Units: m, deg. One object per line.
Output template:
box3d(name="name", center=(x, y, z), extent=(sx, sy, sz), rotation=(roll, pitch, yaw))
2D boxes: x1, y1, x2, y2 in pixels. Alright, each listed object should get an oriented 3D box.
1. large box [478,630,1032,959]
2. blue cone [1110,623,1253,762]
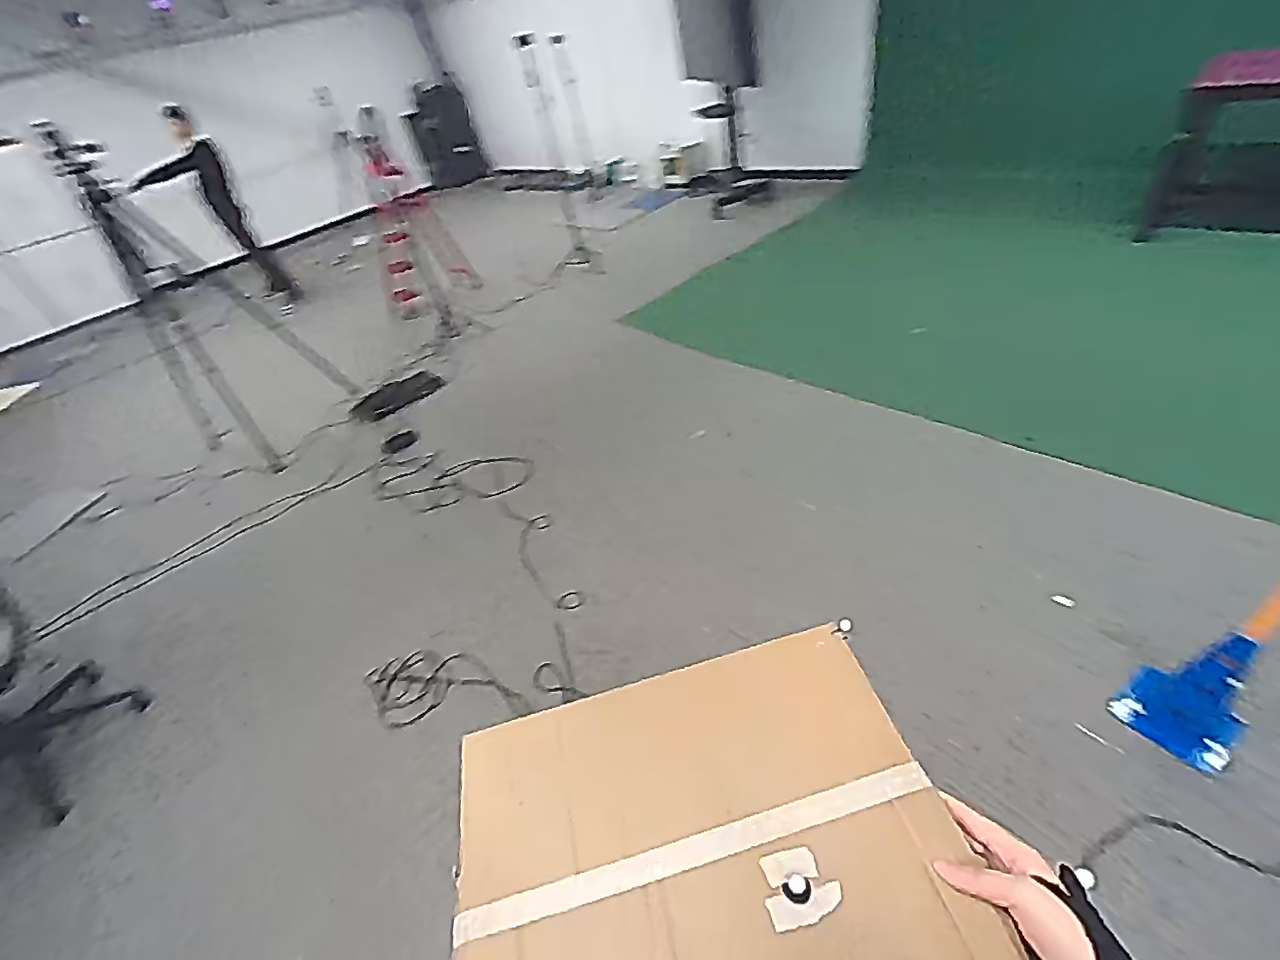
box3d(name="large box", center=(0.078, 0.416, 0.557), extent=(0.408, 0.320, 0.320), rotation=(-14, 44, -3))
box3d(name="blue cone", center=(1.271, 0.455, 1.230), extent=(0.192, 0.380, 0.193), rotation=(-30, 42, -19))
